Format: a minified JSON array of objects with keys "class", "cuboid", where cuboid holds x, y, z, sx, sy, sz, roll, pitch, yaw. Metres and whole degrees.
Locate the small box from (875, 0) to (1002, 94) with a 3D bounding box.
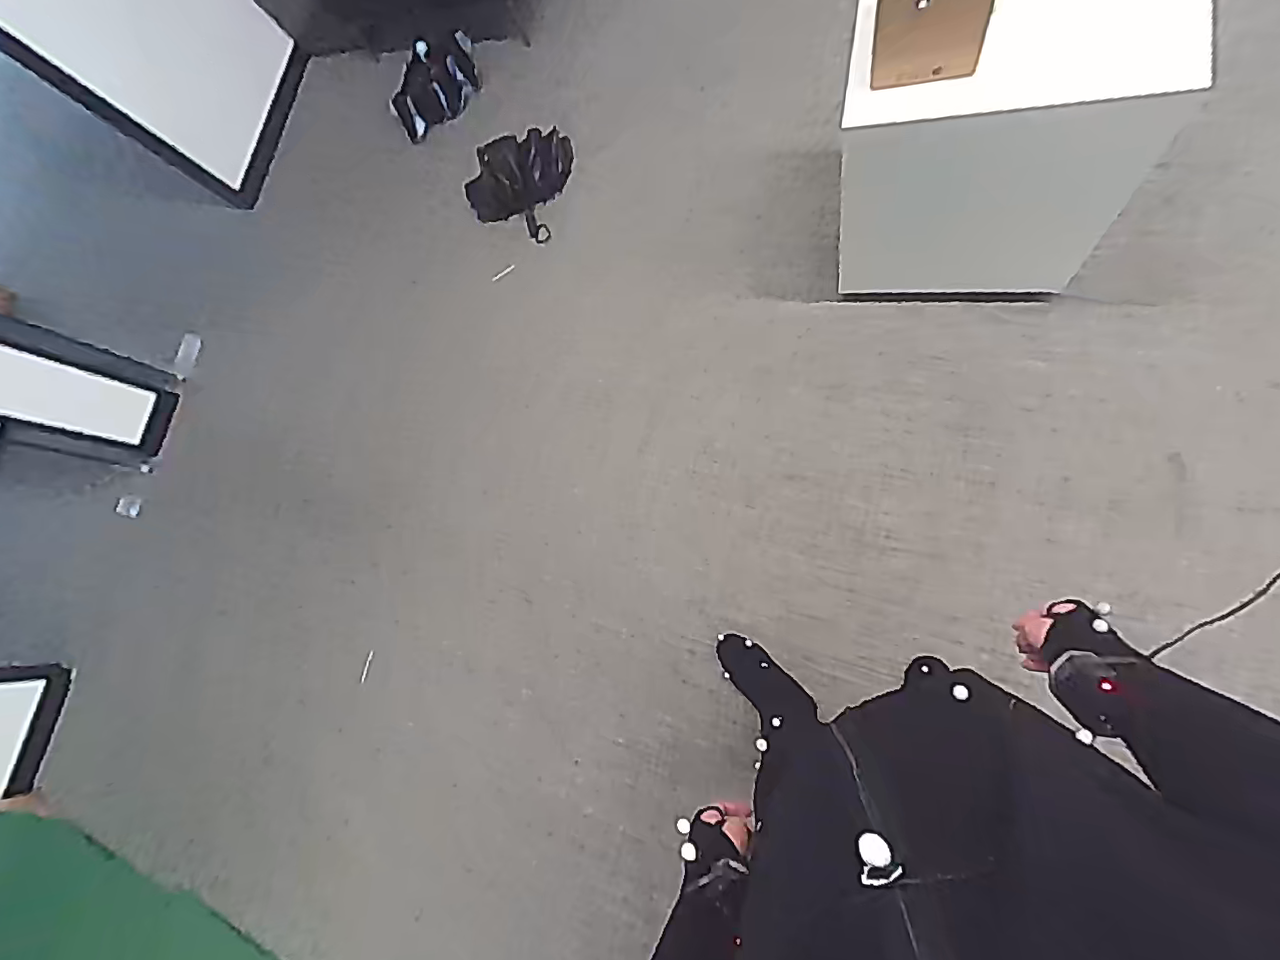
[{"class":"small box","cuboid":[0.479,-0.773,0.870,0.168,0.176,0.179,6,79,21]}]
